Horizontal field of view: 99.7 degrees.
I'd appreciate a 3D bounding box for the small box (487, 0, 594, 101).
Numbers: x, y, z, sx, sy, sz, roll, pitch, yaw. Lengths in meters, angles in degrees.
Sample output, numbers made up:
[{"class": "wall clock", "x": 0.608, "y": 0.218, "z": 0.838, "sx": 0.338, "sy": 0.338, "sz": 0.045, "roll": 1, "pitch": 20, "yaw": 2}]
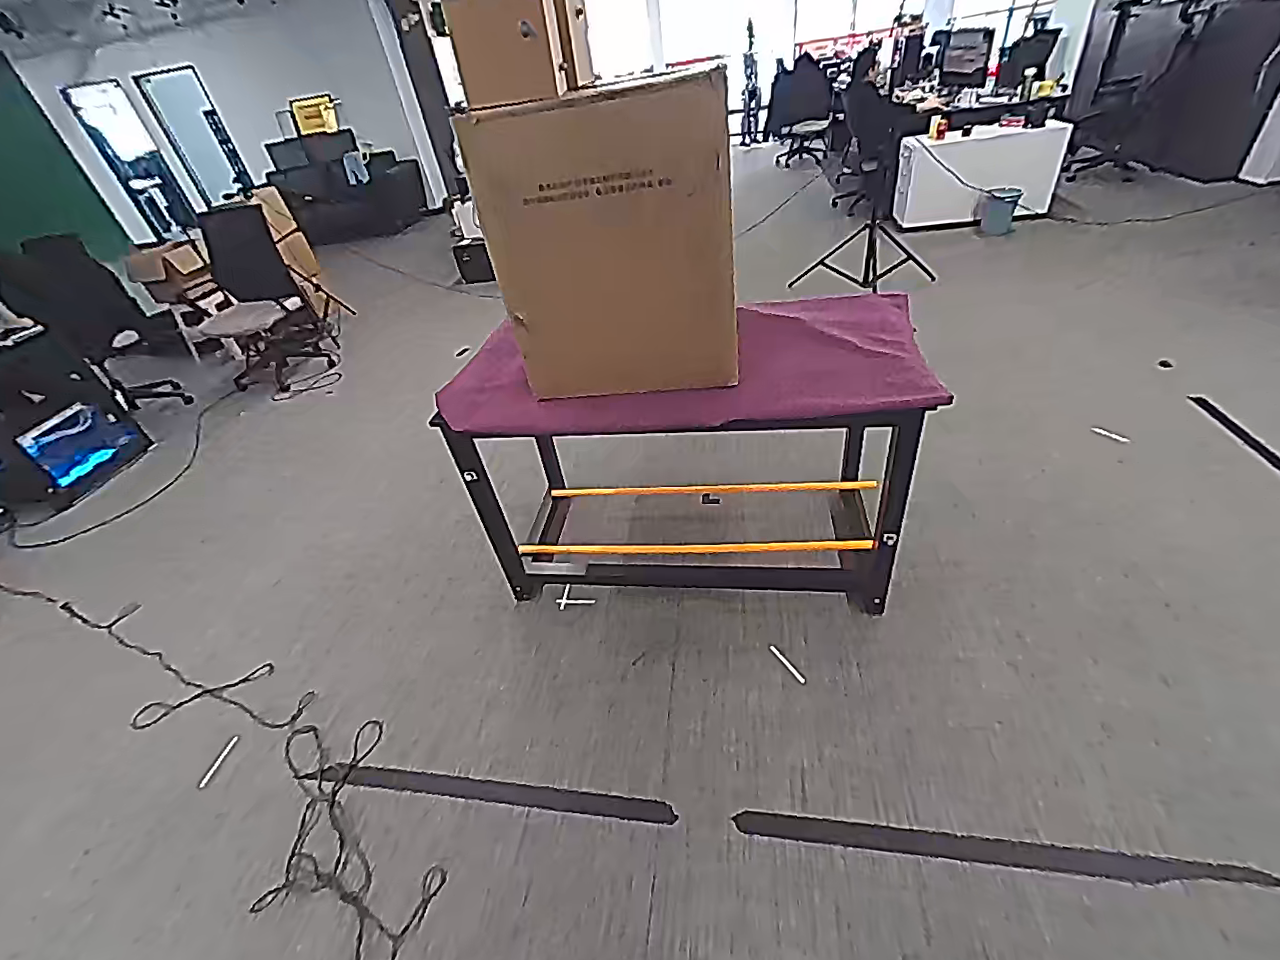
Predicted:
[{"class": "small box", "x": -0.207, "y": -0.945, "z": 1.185, "sx": 0.168, "sy": 0.176, "sz": 0.179, "roll": 1, "pitch": 39, "yaw": 11}]
